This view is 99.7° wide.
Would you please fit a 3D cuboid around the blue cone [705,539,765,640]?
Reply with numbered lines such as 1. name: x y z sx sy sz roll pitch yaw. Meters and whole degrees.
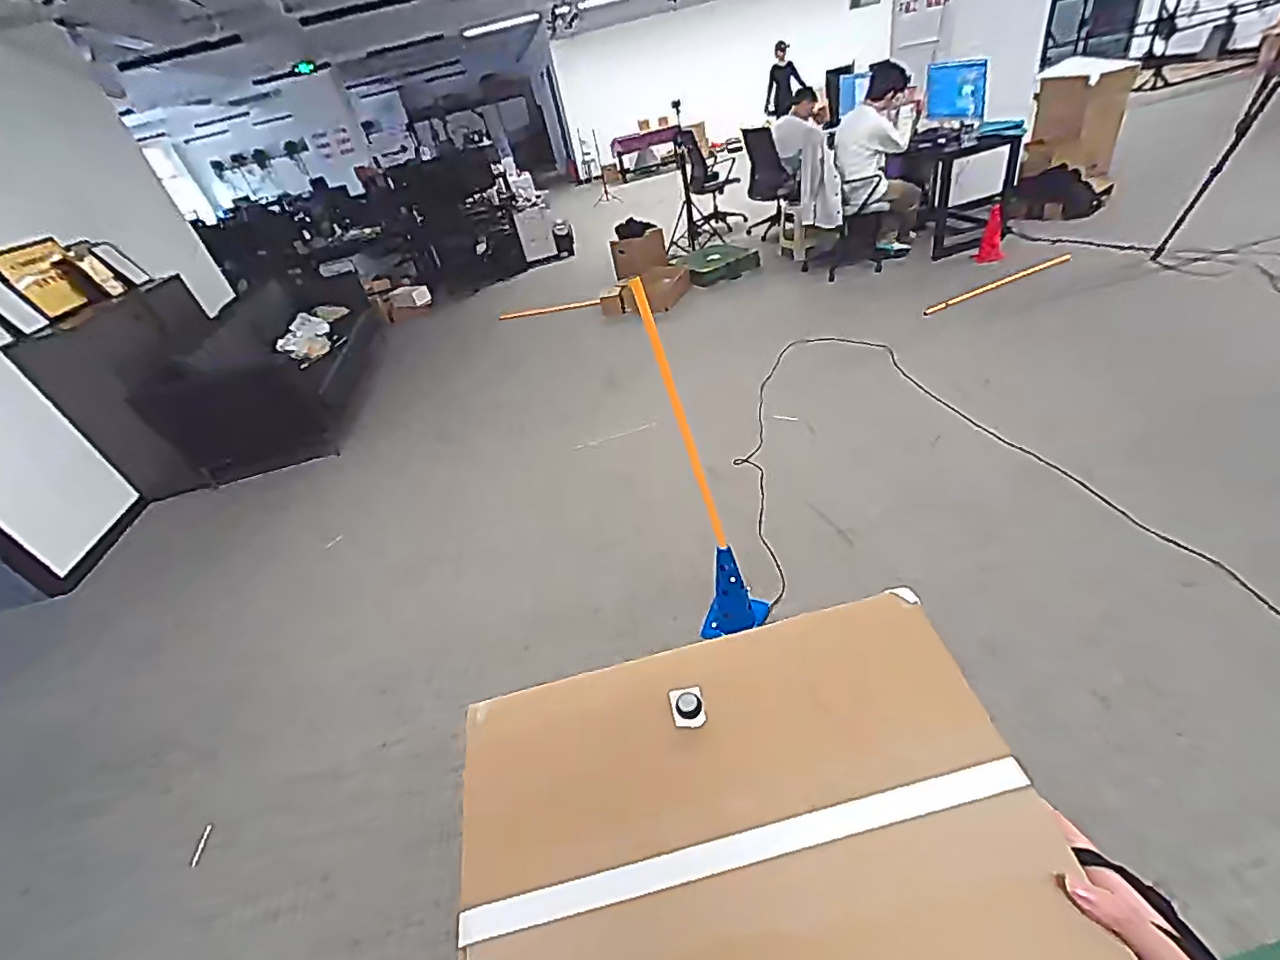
1. blue cone: 0.292 0.339 1.770 0.192 0.380 0.193 3 40 24
